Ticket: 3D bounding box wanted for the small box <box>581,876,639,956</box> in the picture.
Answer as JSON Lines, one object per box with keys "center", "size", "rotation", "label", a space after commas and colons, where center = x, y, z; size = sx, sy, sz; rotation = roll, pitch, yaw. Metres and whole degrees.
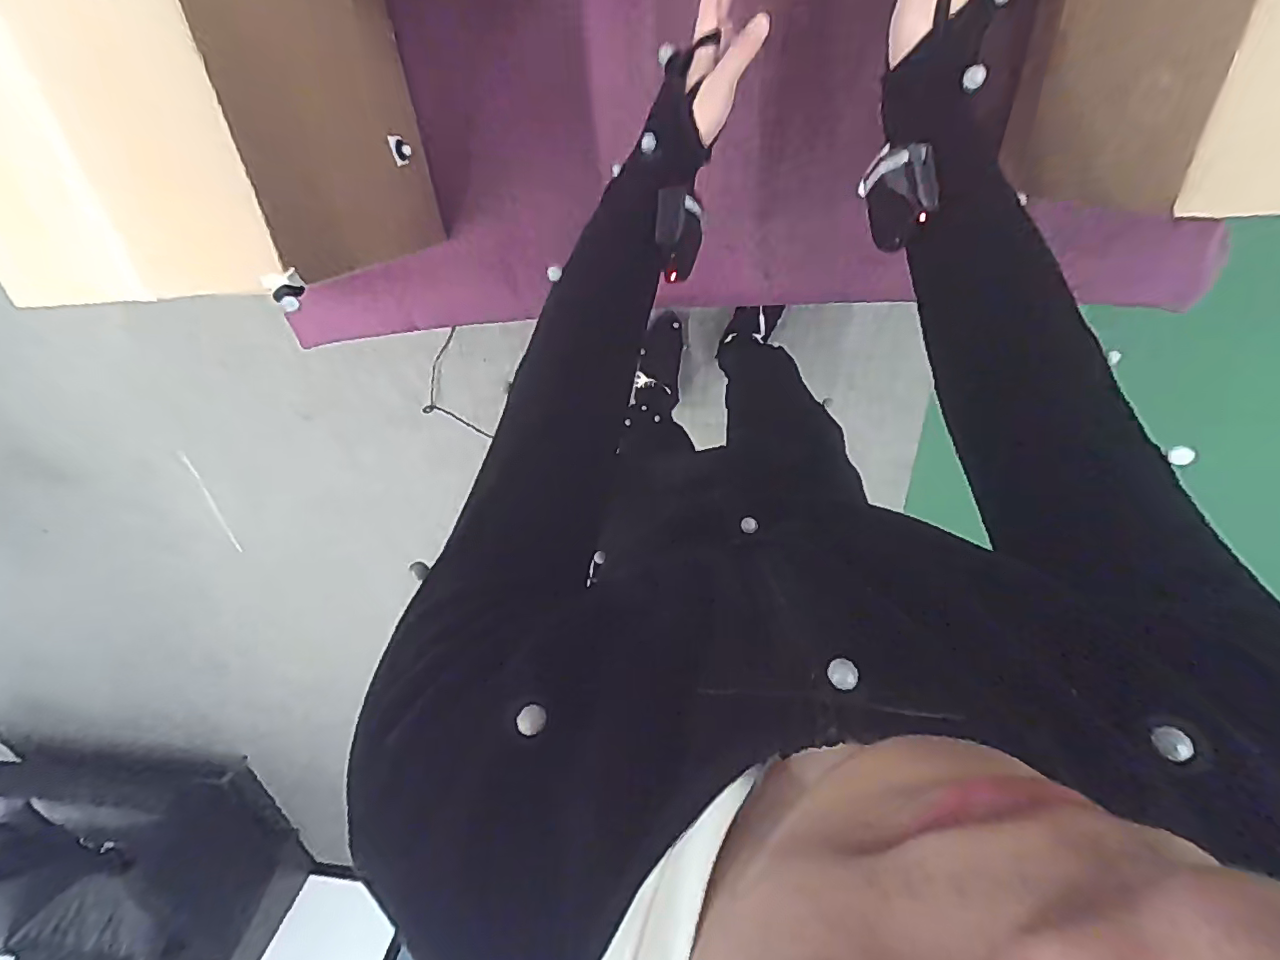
{"center": [-0.101, 1.536, 1.909], "size": [0.168, 0.176, 0.179], "rotation": [1, 123, 10], "label": "small box"}
